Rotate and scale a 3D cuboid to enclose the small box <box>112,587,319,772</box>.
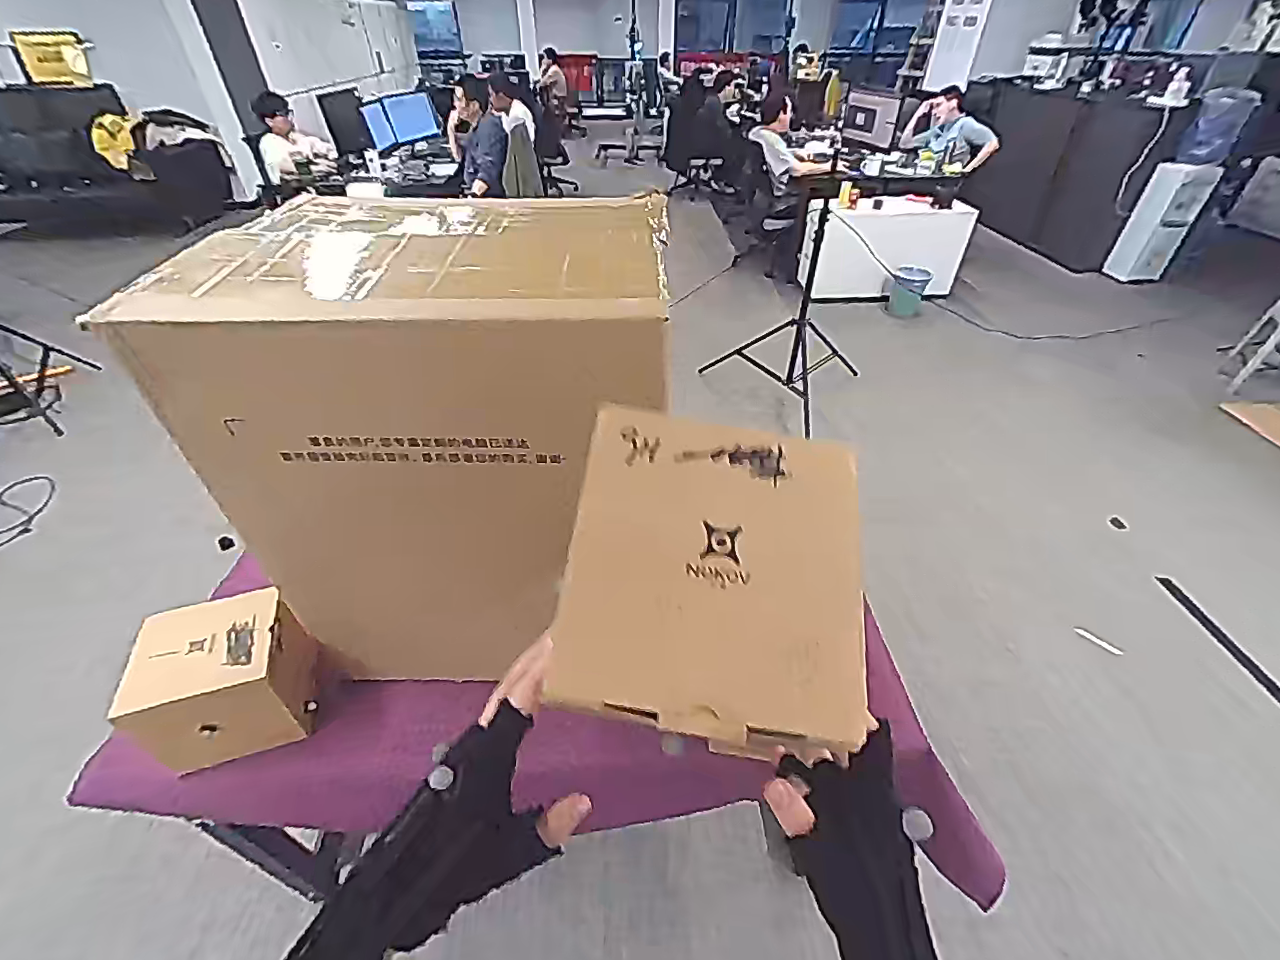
[{"bbox_3d":[-0.596,0.290,0.793,0.179,0.176,0.168,-12,41,-17],"label":"small box"}]

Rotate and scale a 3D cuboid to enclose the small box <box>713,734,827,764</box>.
[{"bbox_3d":[0.195,0.289,0.799,0.168,0.176,0.179,6,39,7],"label":"small box"}]

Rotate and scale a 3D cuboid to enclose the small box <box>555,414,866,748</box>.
[{"bbox_3d":[0.043,0.082,0.385,0.168,0.176,0.179,10,63,-1],"label":"small box"}]
